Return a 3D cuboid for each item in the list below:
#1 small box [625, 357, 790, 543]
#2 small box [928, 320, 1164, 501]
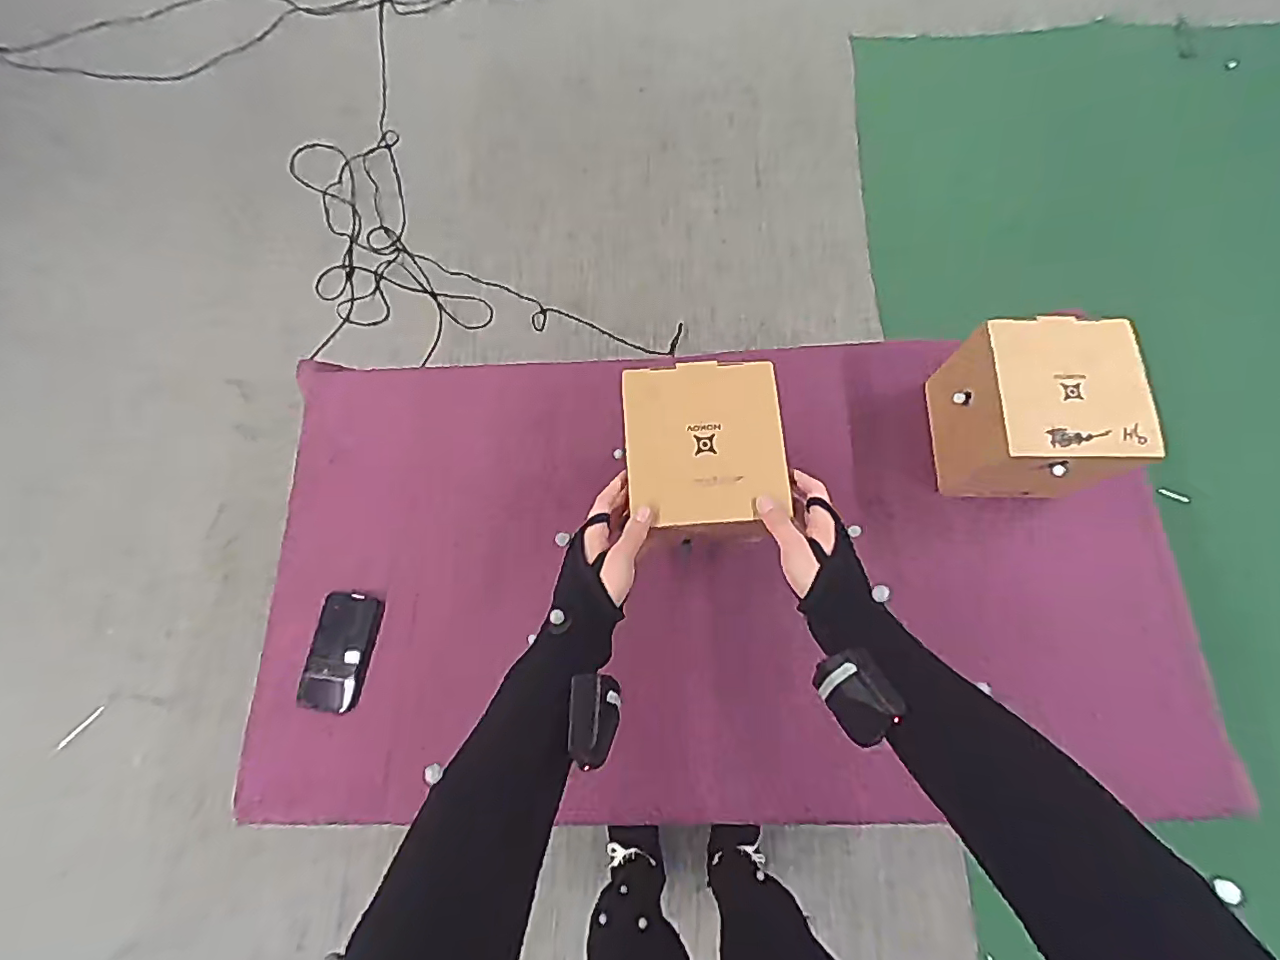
[{"bbox_3d":[0.066,-0.026,0.639,0.168,0.176,0.179,-3,76,0],"label":"small box"},{"bbox_3d":[0.492,-0.082,0.690,0.168,0.176,0.179,1,72,4],"label":"small box"}]
